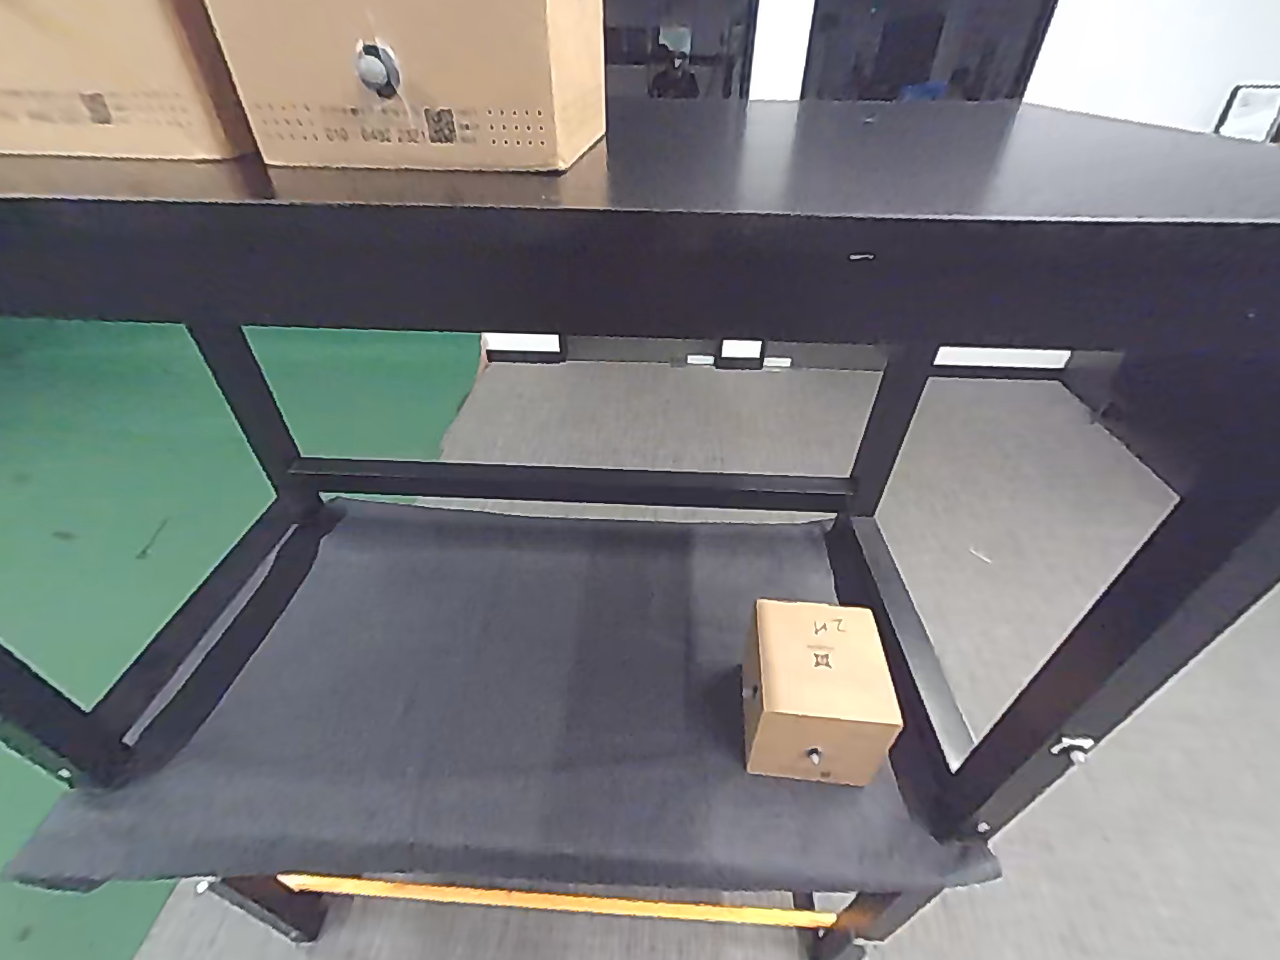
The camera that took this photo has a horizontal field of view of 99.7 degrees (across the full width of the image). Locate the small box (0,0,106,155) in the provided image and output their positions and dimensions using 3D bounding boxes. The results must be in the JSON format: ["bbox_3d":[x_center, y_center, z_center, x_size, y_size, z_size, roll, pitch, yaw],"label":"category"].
[{"bbox_3d":[-0.502,-0.300,0.335,0.168,0.176,0.179,3,40,3],"label":"small box"}]

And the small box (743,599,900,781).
[{"bbox_3d":[0.239,0.296,0.762,0.168,0.176,0.179,5,38,5],"label":"small box"}]
